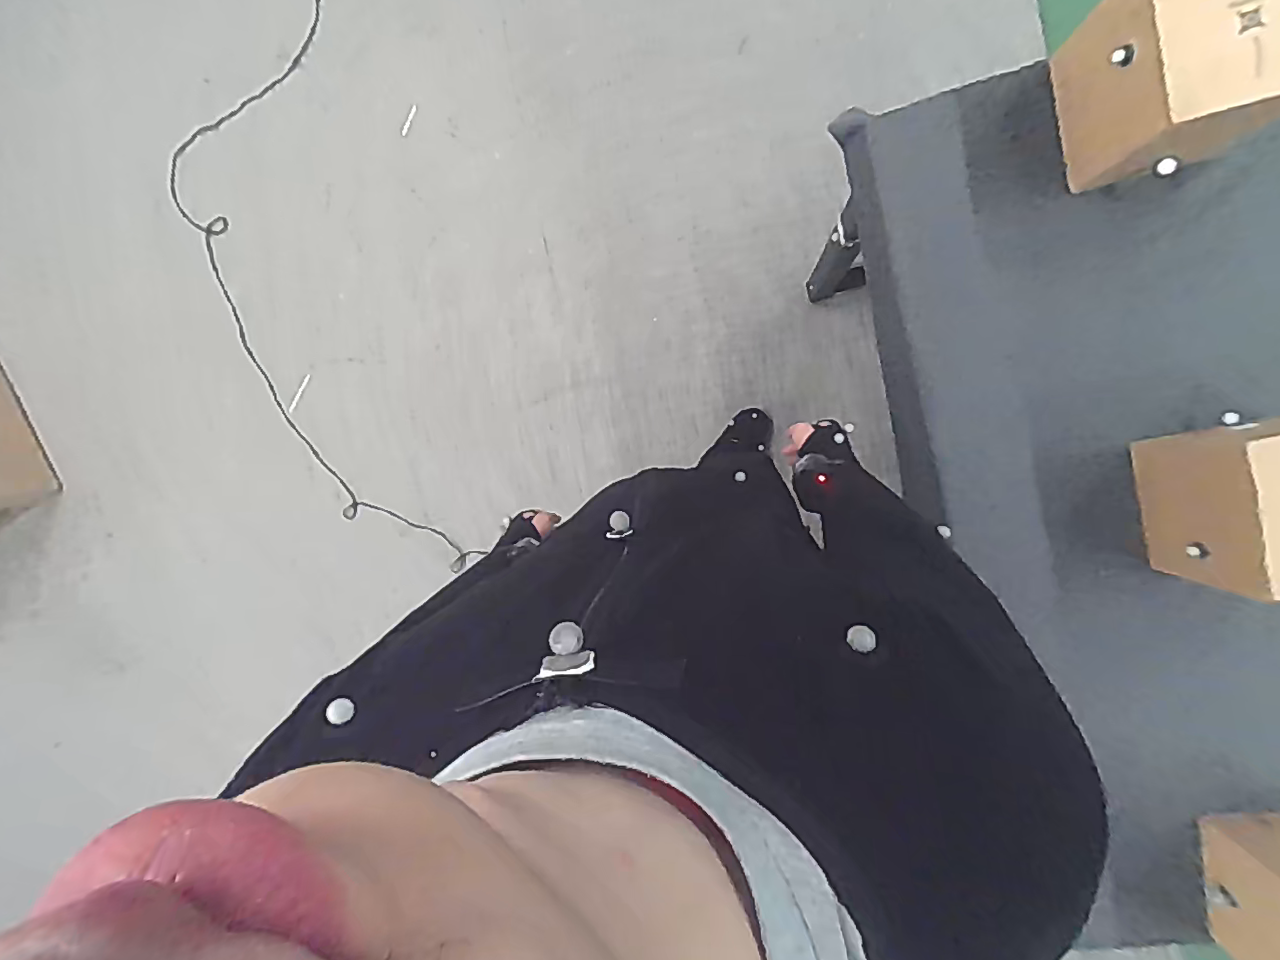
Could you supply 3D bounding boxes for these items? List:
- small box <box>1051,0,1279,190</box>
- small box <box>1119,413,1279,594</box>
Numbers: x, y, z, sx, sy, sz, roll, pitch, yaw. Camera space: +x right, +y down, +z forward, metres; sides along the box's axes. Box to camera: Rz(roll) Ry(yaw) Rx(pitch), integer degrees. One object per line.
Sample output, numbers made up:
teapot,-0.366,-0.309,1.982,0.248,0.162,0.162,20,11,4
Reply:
small box,0.611,-0.471,0.617,0.168,0.176,0.179,-12,95,9
small box,0.734,0.018,0.648,0.168,0.176,0.179,-12,92,7
